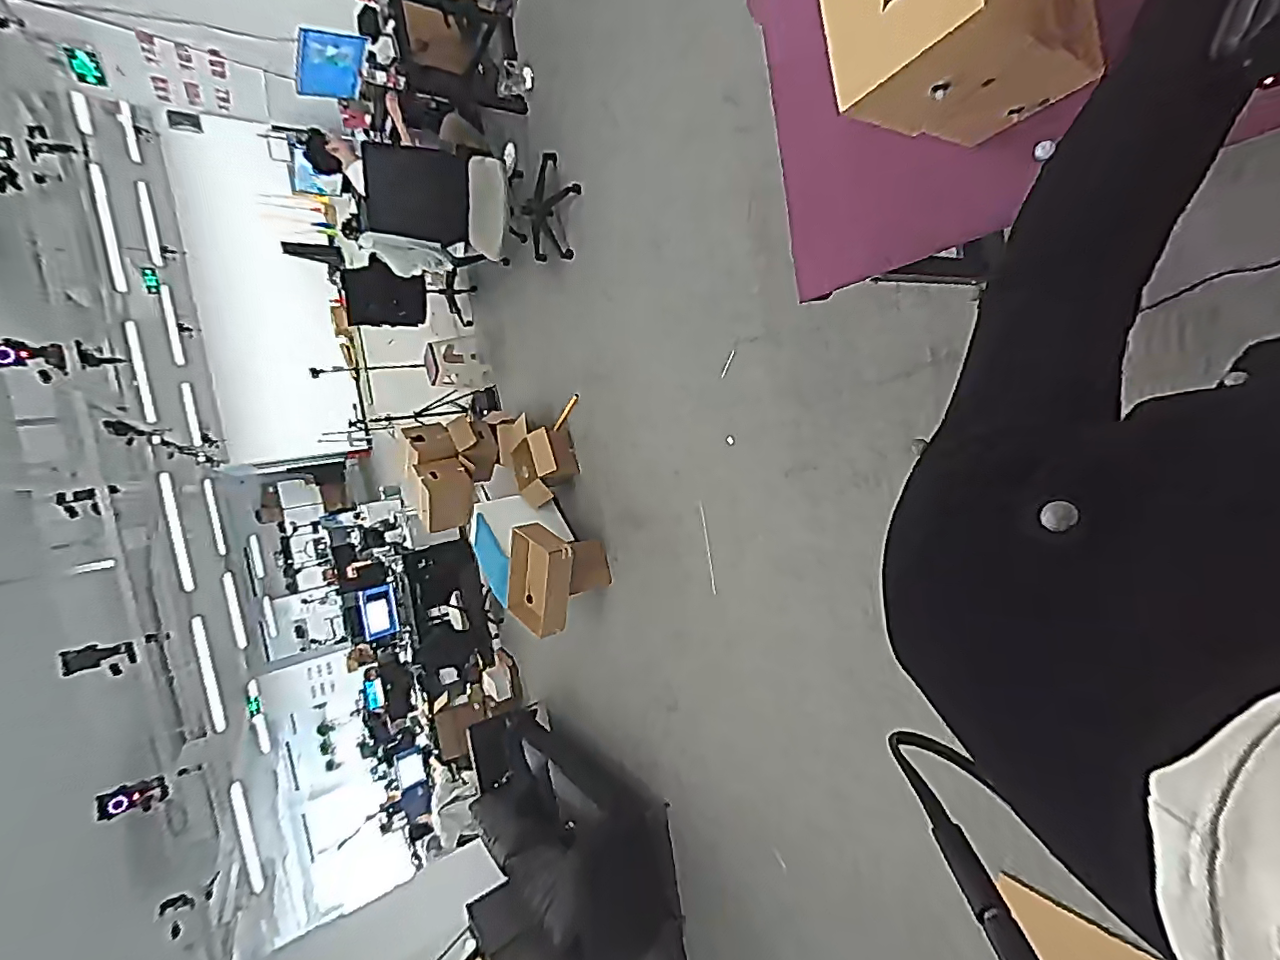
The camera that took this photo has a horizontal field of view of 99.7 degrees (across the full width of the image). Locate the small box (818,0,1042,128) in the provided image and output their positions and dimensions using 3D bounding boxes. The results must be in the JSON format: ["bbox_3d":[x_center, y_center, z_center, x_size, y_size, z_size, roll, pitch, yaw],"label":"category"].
[{"bbox_3d":[0.334,-0.542,0.627,0.168,0.176,0.179,-6,95,56],"label":"small box"}]
